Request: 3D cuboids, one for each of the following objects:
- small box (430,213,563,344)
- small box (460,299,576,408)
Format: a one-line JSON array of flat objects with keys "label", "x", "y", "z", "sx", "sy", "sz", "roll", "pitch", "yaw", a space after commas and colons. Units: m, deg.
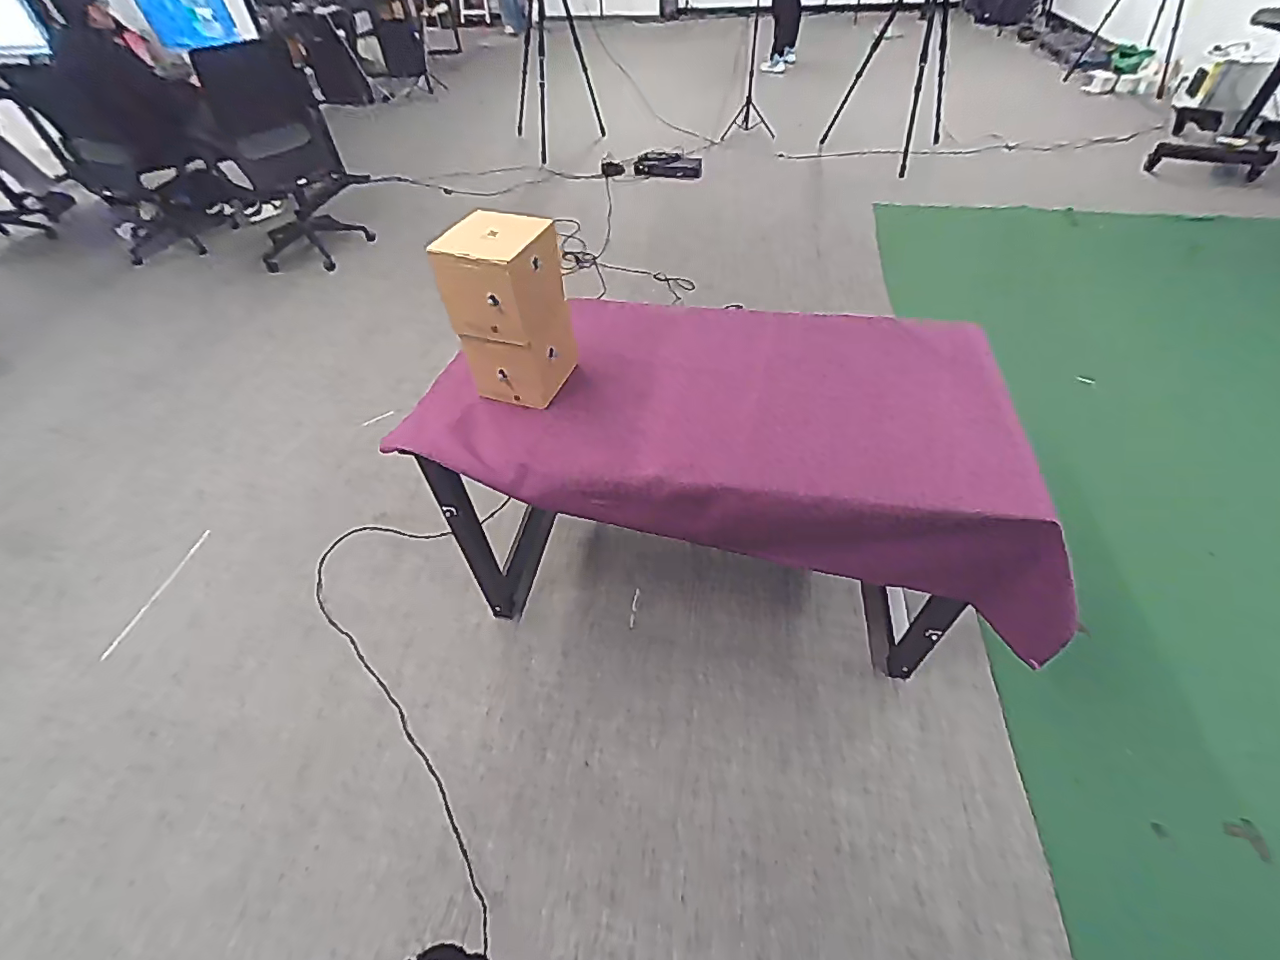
[{"label": "small box", "x": -0.258, "y": -0.381, "z": 1.029, "sx": 0.168, "sy": 0.176, "sz": 0.179, "roll": 15, "pitch": 50, "yaw": 15}, {"label": "small box", "x": -0.248, "y": -0.279, "z": 1.157, "sx": 0.168, "sy": 0.176, "sz": 0.179, "roll": 14, "pitch": 51, "yaw": 14}]
